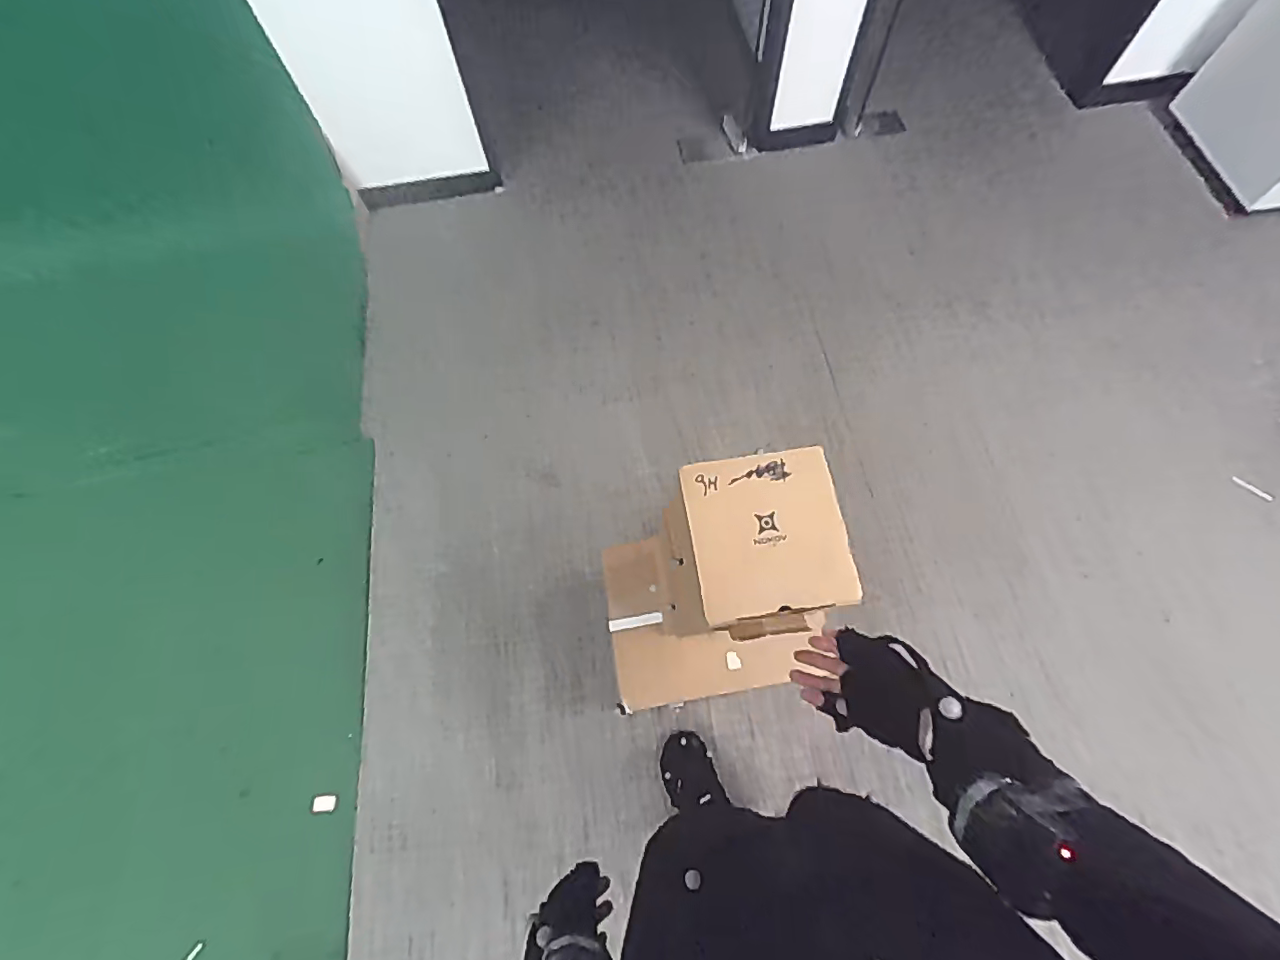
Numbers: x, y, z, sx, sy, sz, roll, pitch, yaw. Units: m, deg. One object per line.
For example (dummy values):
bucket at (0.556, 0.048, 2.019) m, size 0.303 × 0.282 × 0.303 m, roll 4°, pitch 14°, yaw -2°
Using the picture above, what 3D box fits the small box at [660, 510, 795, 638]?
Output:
small box at (0.125, 0.138, 0.815) m, size 0.168 × 0.176 × 0.179 m, roll -9°, pitch 72°, yaw -3°

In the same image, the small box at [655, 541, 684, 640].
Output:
small box at (0.126, 0.188, 0.968) m, size 0.179 × 0.176 × 0.168 m, roll -10°, pitch 73°, yaw -2°

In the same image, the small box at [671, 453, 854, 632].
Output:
small box at (0.133, 0.085, 0.660) m, size 0.168 × 0.176 × 0.179 m, roll -9°, pitch 73°, yaw -2°
